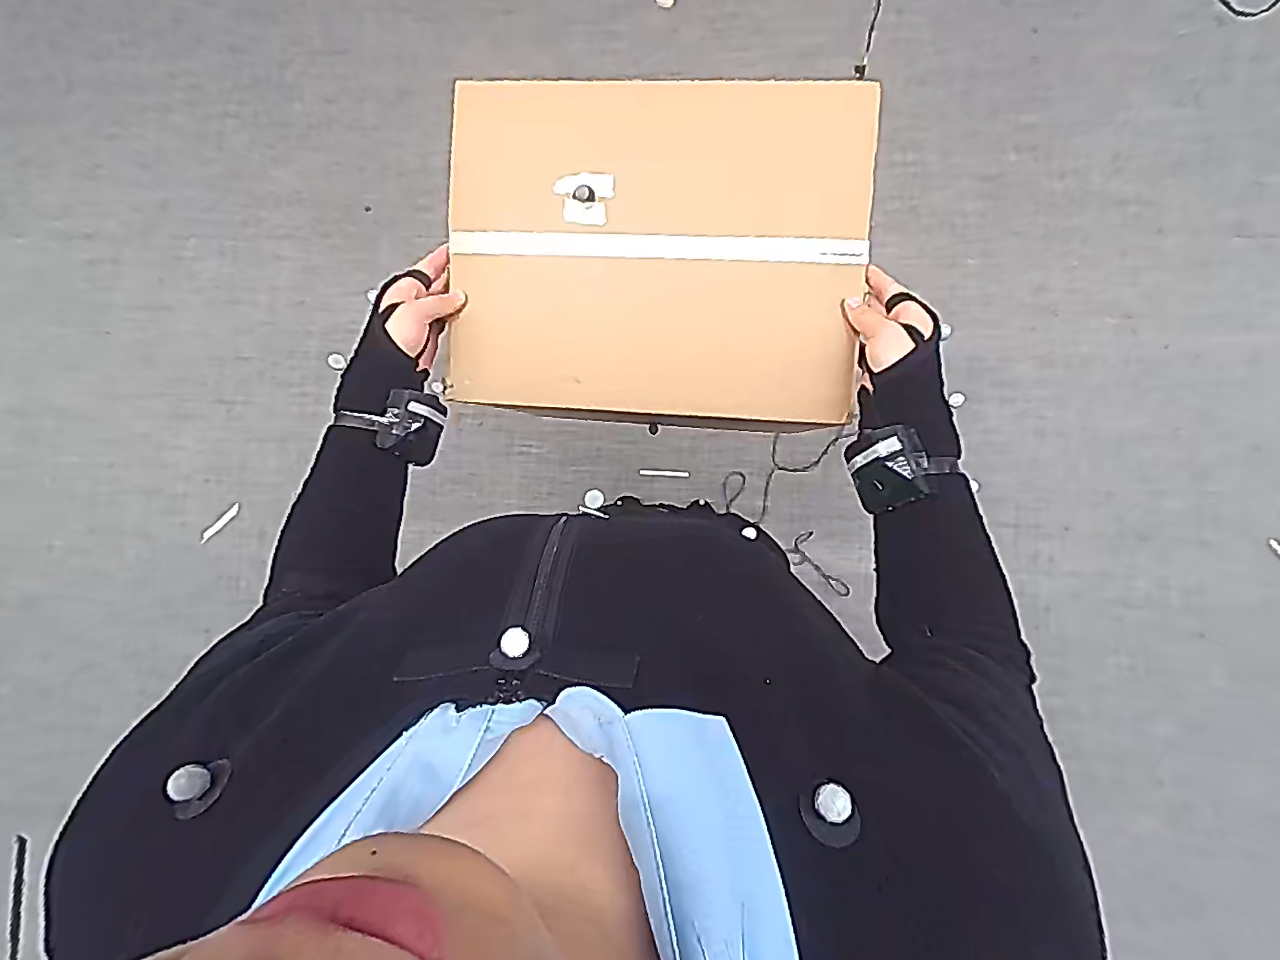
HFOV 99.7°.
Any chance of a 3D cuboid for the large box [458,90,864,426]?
[{"bbox_3d":[0.029,-0.230,0.685,0.408,0.320,0.320,3,92,6],"label":"large box"}]
